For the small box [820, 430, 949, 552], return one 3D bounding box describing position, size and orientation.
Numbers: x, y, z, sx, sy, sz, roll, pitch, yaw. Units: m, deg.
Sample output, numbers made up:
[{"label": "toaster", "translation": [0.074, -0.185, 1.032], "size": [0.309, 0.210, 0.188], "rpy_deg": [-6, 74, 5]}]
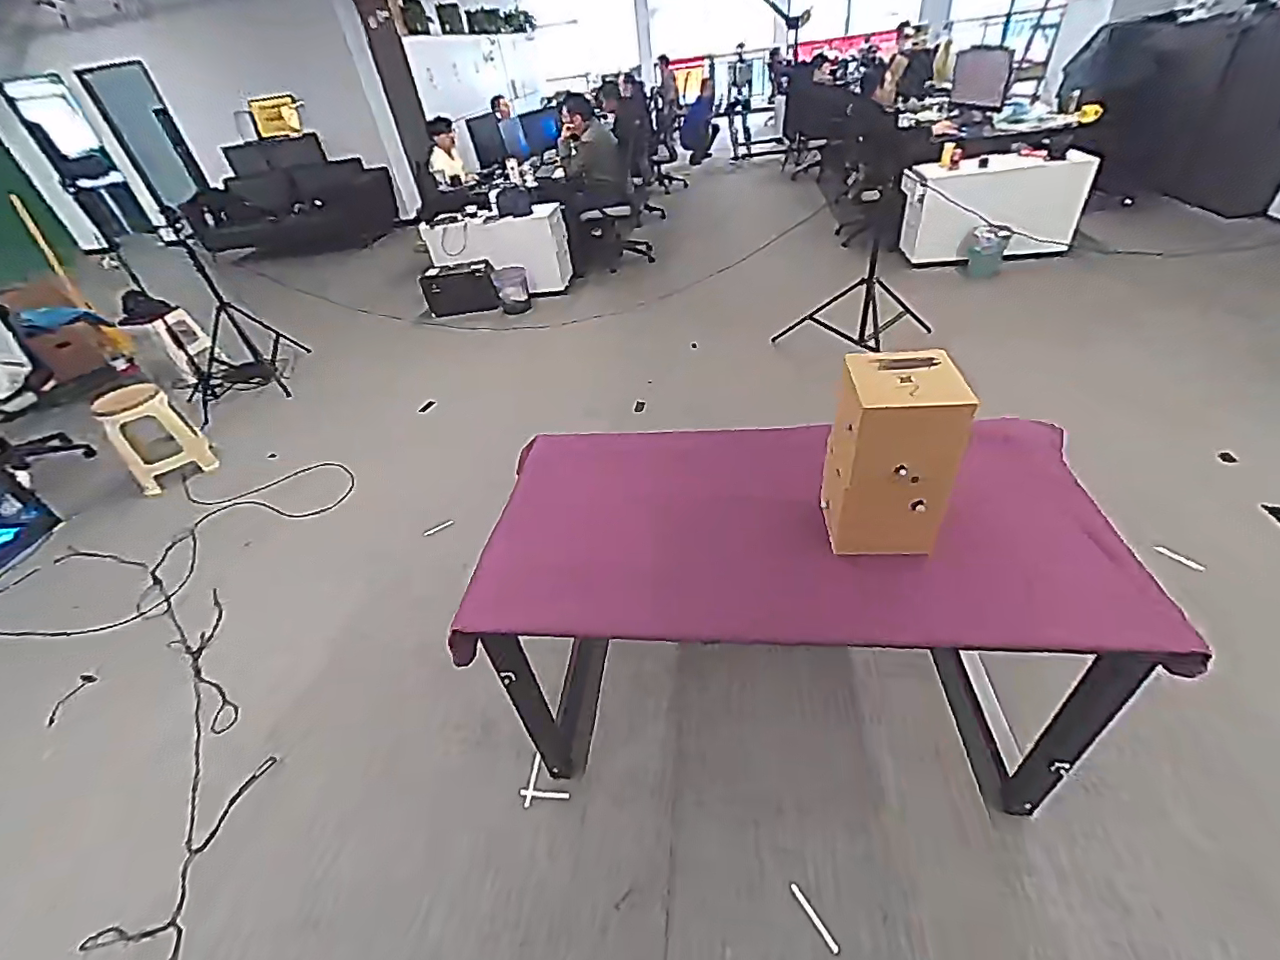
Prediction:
[{"label": "small box", "translation": [0.449, 0.023, 1.023], "size": [0.179, 0.176, 0.168], "rpy_deg": [-2, 38, 9]}]
